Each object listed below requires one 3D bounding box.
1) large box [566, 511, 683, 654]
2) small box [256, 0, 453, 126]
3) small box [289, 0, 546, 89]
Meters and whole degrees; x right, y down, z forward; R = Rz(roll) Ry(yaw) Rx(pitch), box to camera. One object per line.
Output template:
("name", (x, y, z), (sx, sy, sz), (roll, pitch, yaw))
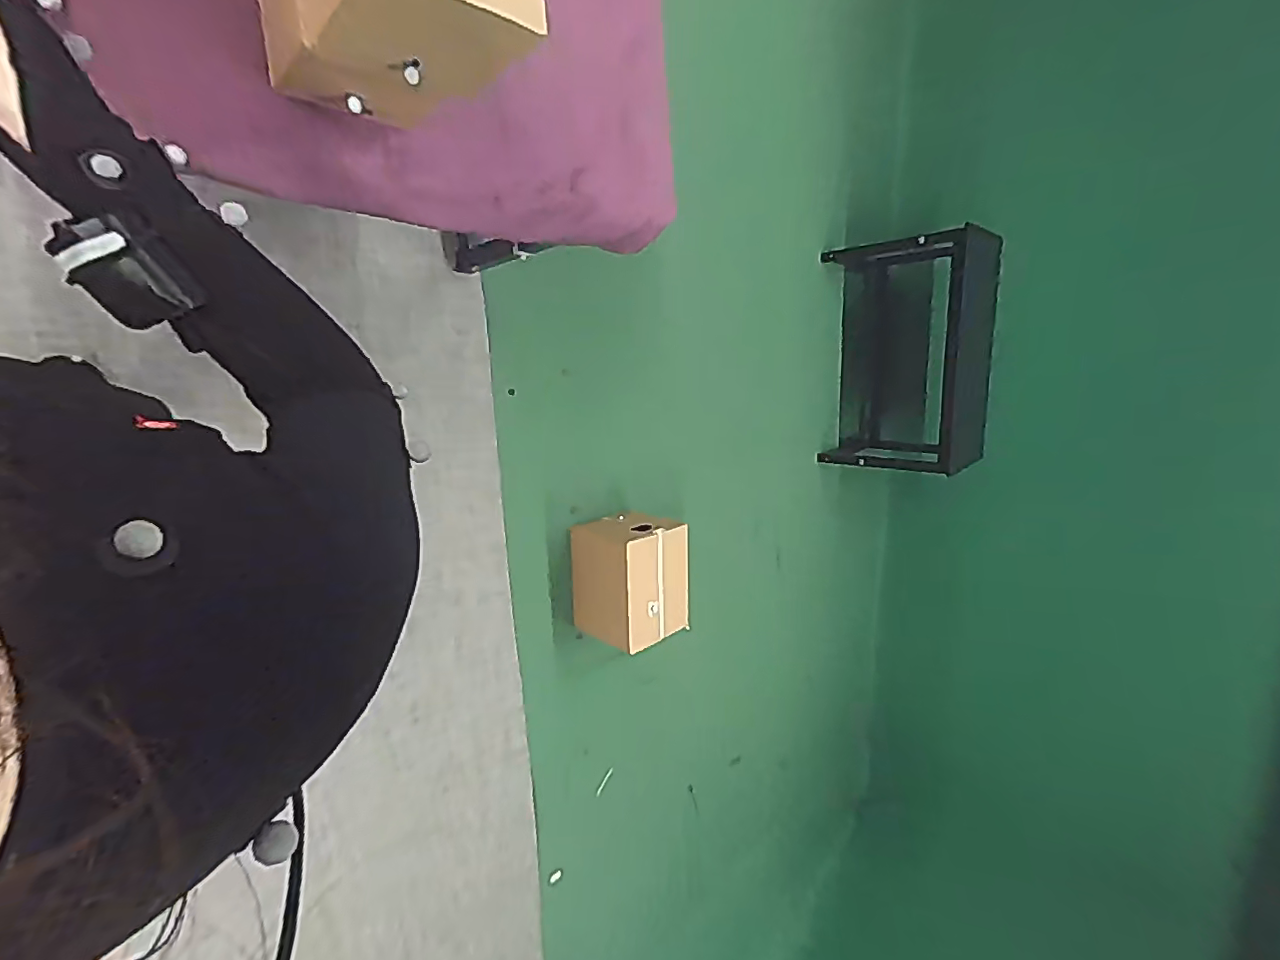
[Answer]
("large box", (-0.054, 0.358, 1.997), (0.320, 0.320, 0.408), (-11, 106, -44))
("small box", (-0.325, -0.547, 0.616), (0.168, 0.176, 0.179), (-12, 106, -44))
("small box", (-0.213, -0.500, 0.502), (0.179, 0.176, 0.168), (-17, 108, -43))
